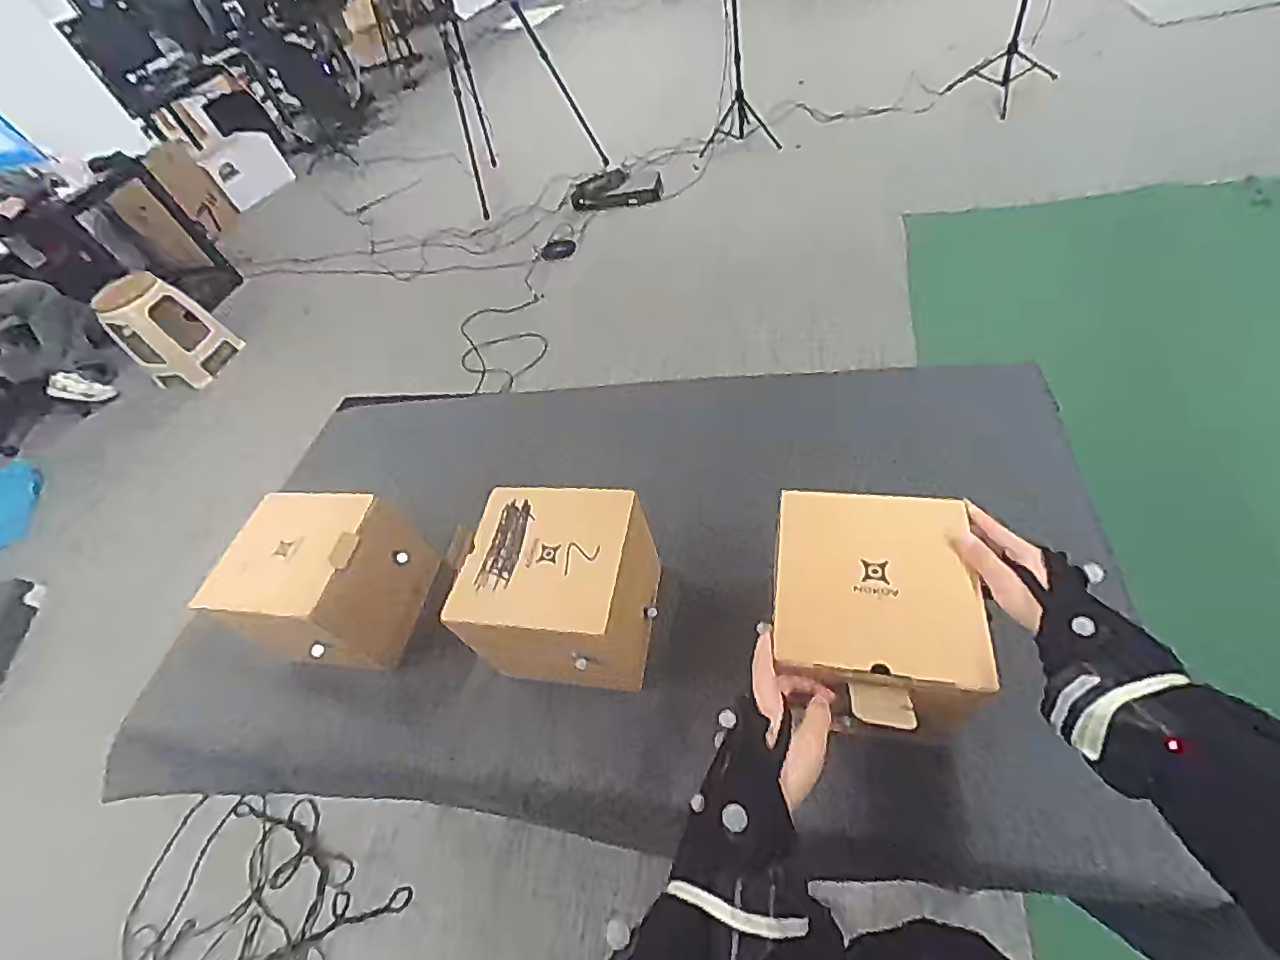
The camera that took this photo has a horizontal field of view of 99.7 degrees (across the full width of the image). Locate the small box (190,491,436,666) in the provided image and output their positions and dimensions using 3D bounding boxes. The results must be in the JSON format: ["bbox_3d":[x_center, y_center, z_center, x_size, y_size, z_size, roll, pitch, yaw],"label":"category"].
[{"bbox_3d":[-0.399,0.129,0.698,0.179,0.176,0.168,-1,51,15],"label":"small box"}]
